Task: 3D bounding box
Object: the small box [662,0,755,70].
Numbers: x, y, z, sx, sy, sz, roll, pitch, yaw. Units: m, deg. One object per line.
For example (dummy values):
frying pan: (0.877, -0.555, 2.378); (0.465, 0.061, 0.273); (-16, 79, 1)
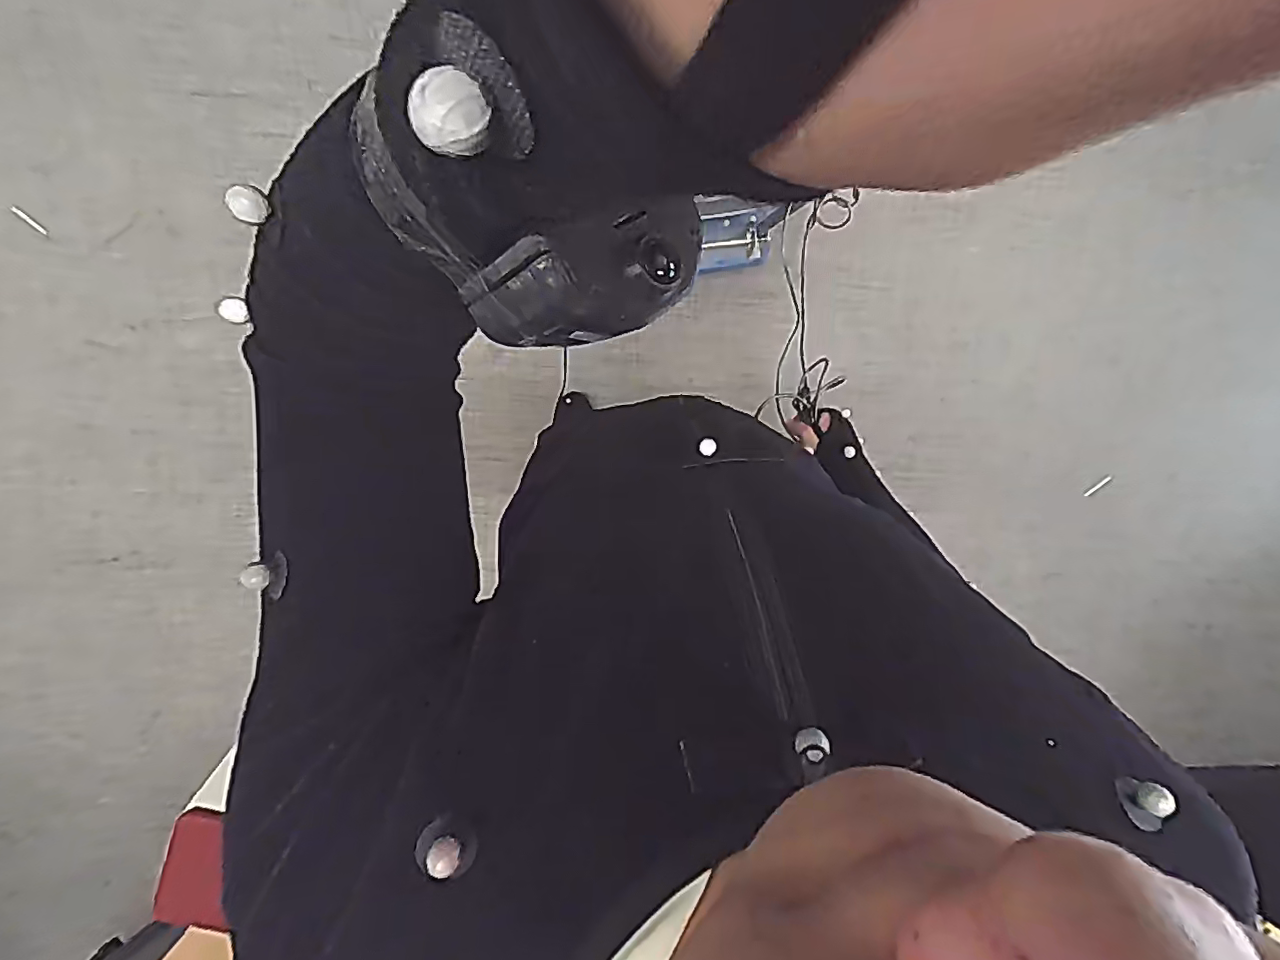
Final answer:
small box: (0.145, -1.059, 1.198); (0.168, 0.176, 0.179); (-9, 101, -2)
